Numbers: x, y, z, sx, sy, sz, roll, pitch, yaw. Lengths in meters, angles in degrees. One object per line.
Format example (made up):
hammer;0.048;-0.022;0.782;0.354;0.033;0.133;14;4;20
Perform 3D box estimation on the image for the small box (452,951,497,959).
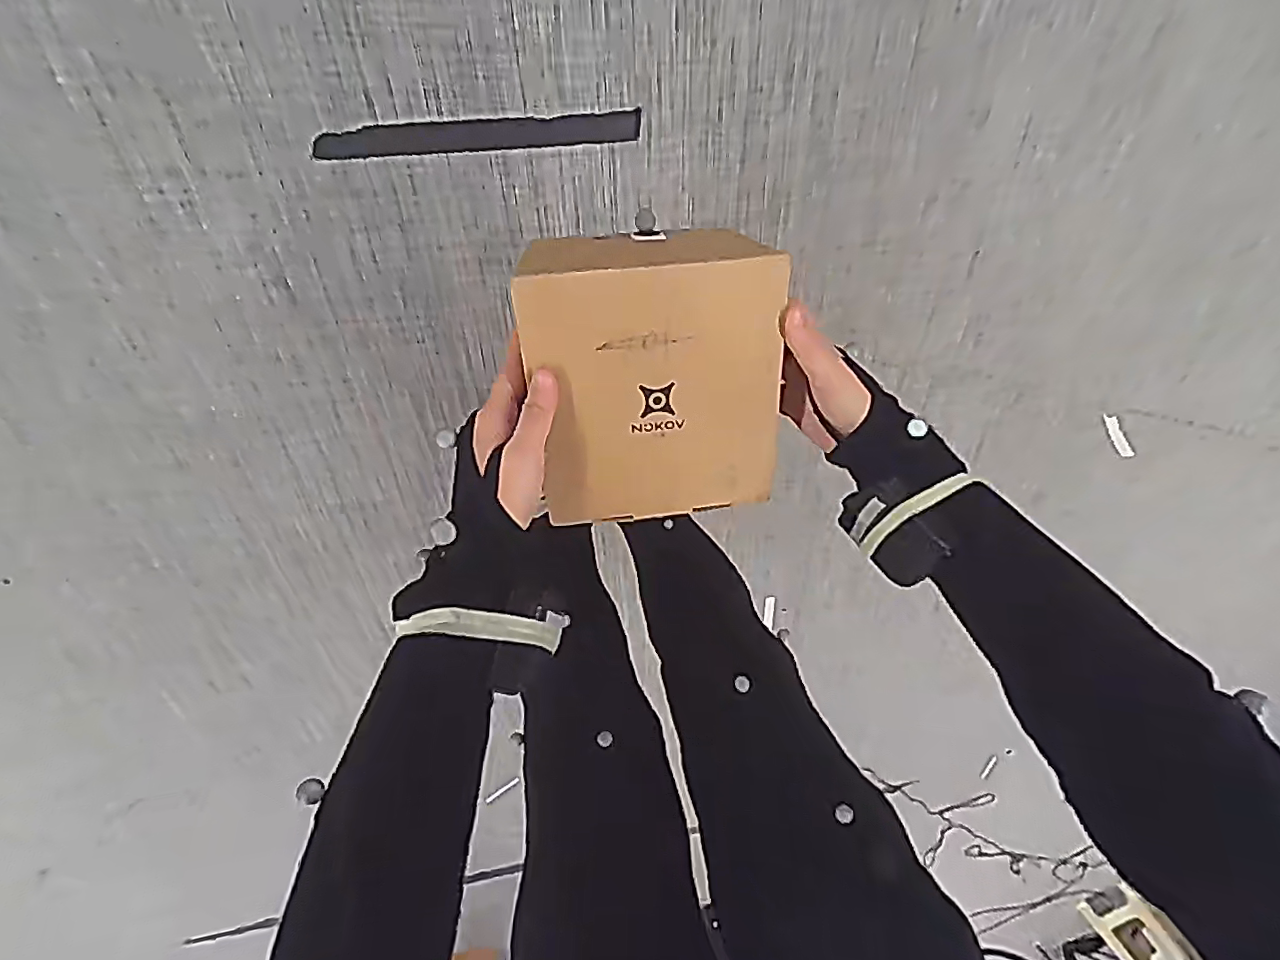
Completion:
small box;-0.588;1.757;1.850;0.179;0.176;0.168;7;121;-18
